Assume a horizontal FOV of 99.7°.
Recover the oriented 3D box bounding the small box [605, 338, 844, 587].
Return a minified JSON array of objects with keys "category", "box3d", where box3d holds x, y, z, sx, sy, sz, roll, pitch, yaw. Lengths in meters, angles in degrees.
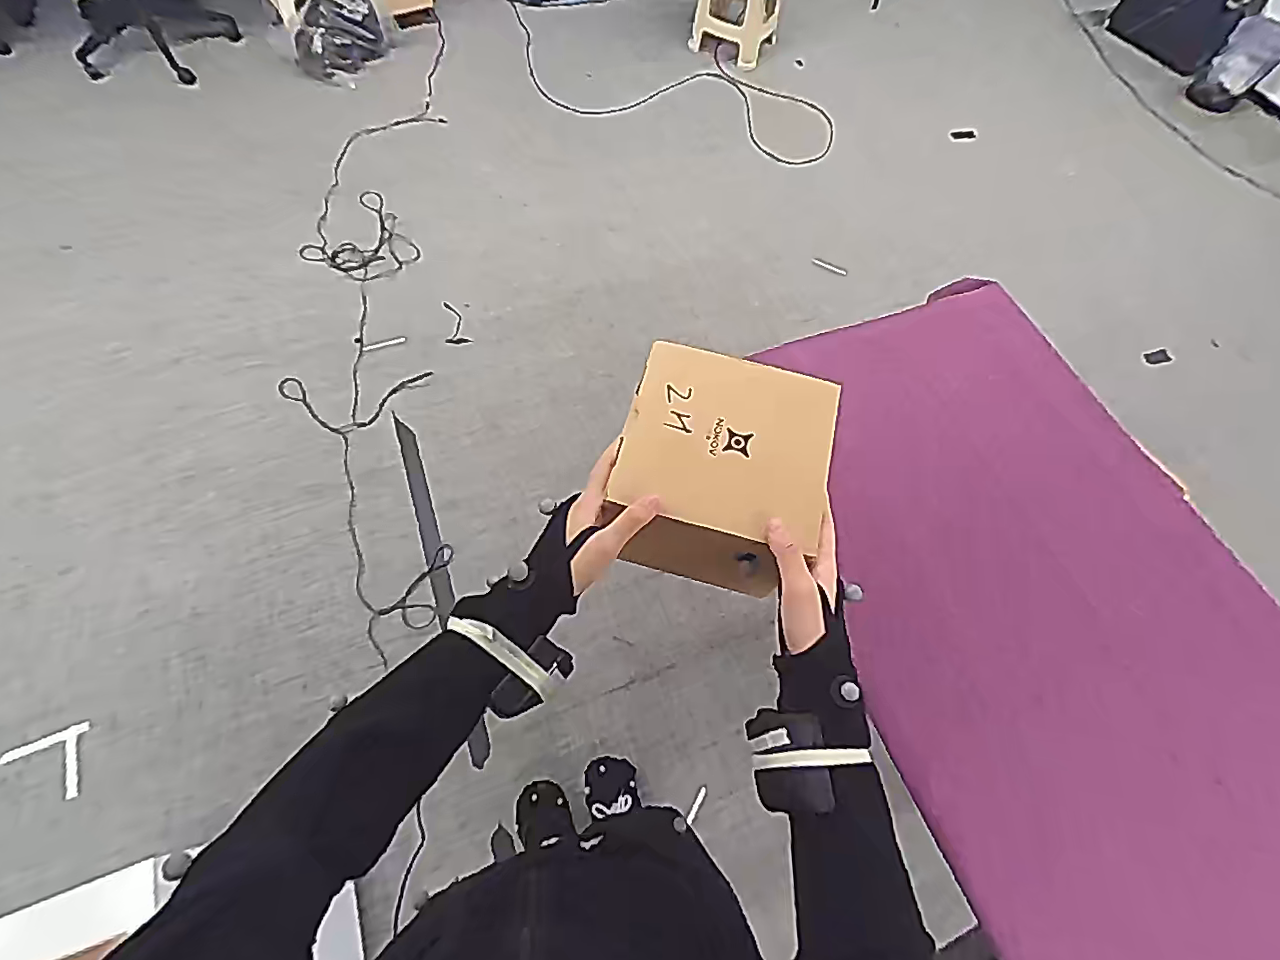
[{"category":"small box","box3d":[0.073,-0.004,0.525,0.179,0.176,0.168,14,67,5]}]
